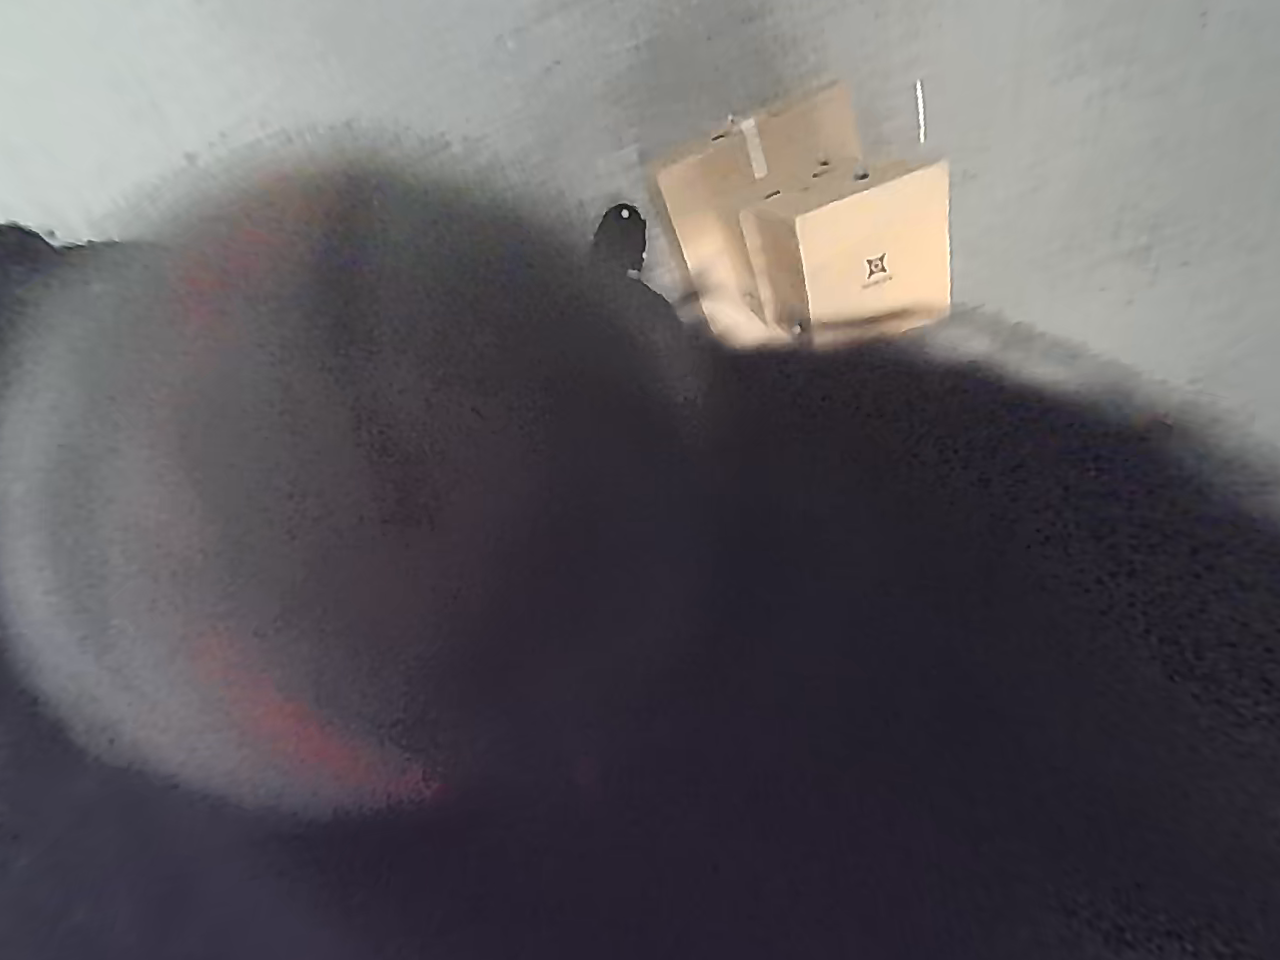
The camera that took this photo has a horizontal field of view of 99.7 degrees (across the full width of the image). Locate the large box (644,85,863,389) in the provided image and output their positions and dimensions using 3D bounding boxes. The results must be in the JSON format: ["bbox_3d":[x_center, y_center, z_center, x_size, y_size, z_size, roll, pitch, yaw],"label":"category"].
[{"bbox_3d":[0.233,-0.459,1.044,0.320,0.320,0.408,-21,122,9],"label":"large box"}]

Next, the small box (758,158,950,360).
[{"bbox_3d":[0.260,-0.280,0.677,0.168,0.176,0.179,-18,122,6],"label":"small box"}]
